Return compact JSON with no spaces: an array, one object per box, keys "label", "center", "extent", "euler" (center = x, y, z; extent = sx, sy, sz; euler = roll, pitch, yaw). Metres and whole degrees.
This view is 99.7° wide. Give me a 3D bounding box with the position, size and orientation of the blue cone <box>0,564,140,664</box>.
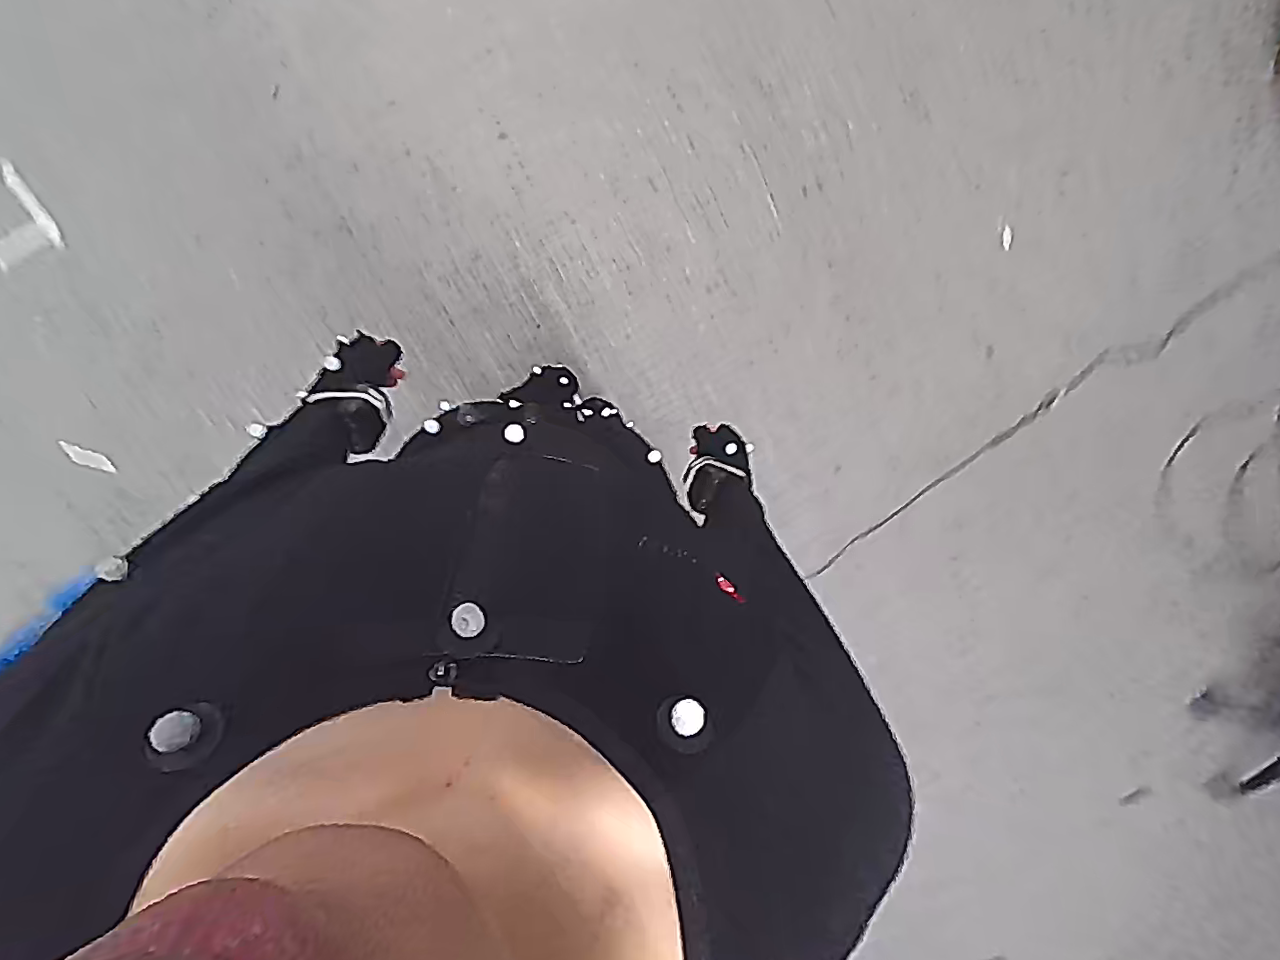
[{"label":"blue cone","center":[-1.418,0.366,1.255],"extent":[0.193,0.380,0.192],"euler":[-30,102,0]}]
